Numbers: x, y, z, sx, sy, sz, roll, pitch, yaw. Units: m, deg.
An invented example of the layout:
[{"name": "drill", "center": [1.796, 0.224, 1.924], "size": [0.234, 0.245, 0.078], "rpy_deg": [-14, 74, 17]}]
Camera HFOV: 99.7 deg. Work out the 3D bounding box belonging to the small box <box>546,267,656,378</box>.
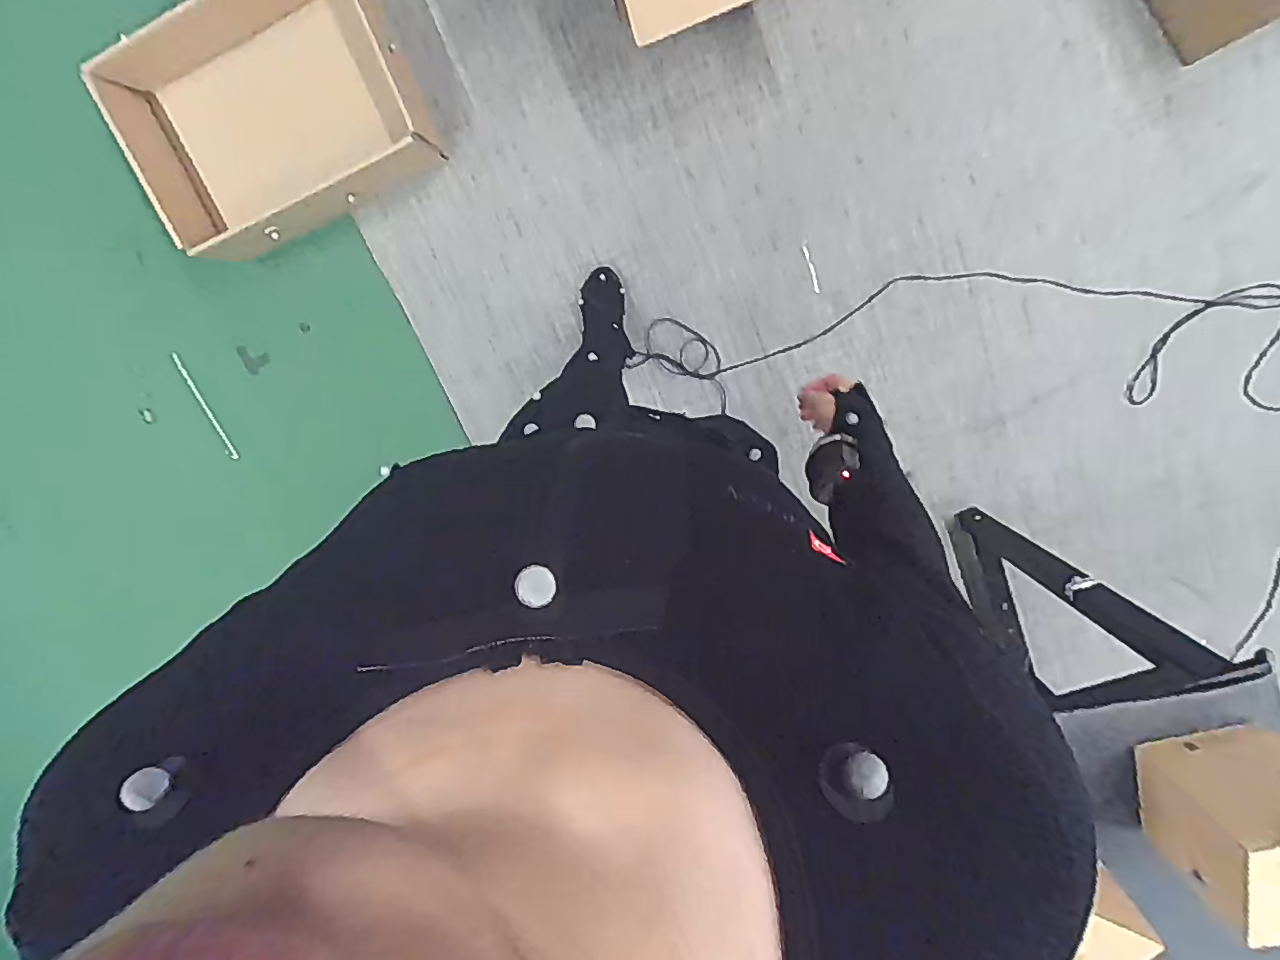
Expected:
[{"name": "small box", "center": [-0.083, -0.376, 1.286], "size": [0.179, 0.168, 0.176], "rpy_deg": [-47, 131, -8]}]
